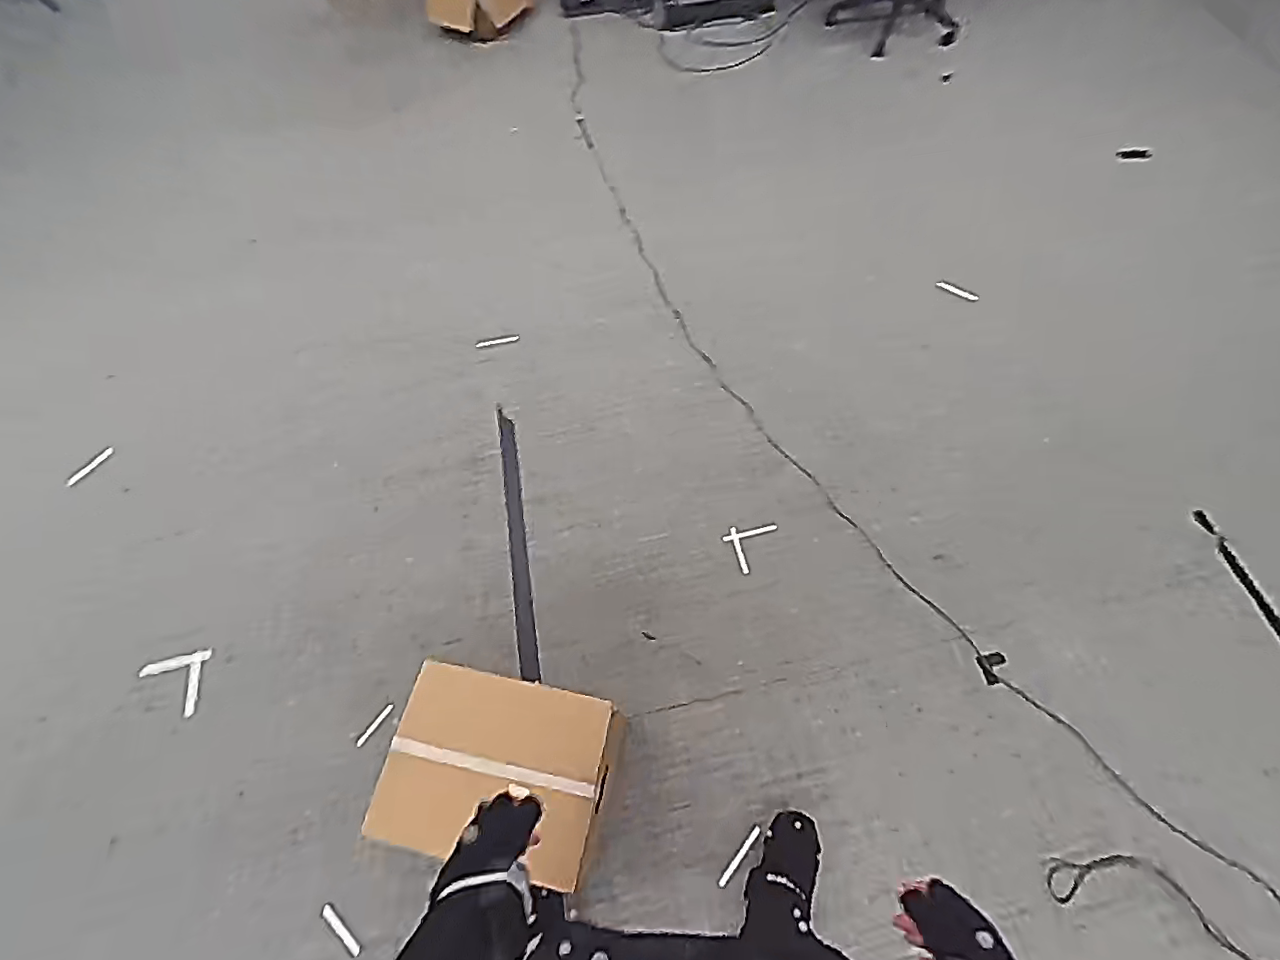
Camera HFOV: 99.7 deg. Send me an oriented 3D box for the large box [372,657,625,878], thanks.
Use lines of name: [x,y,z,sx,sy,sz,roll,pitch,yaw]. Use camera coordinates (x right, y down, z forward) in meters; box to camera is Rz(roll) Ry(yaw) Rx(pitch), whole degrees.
large box: [-0.263,0.597,1.157,0.408,0.320,0.320,10,64,7]
